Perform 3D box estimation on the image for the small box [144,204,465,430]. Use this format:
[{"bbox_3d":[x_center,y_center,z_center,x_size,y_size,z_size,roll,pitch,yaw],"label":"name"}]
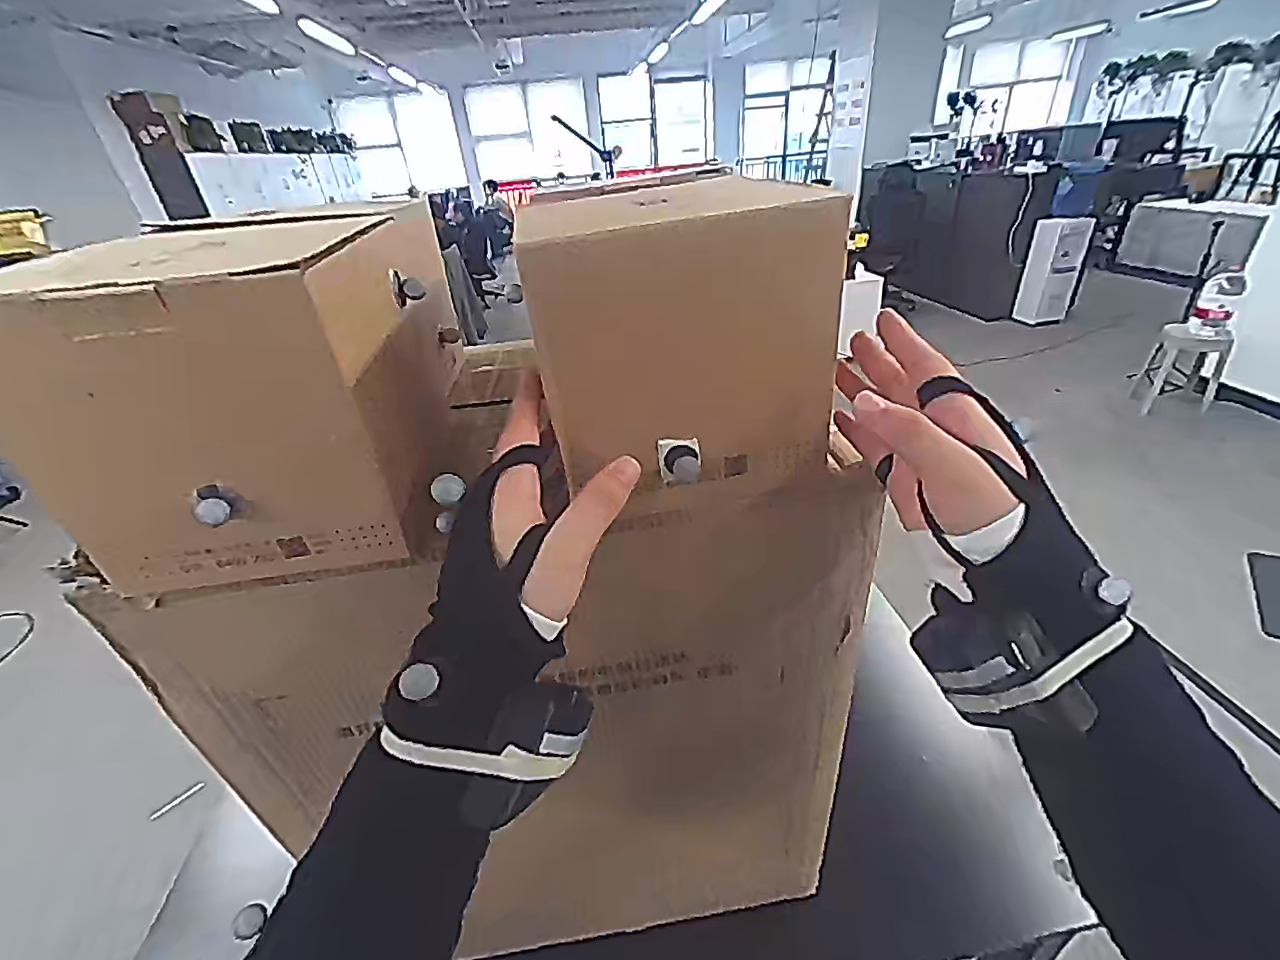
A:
[{"bbox_3d":[-0.281,-0.155,0.506,0.179,0.176,0.168,-7,31,-4],"label":"small box"}]
